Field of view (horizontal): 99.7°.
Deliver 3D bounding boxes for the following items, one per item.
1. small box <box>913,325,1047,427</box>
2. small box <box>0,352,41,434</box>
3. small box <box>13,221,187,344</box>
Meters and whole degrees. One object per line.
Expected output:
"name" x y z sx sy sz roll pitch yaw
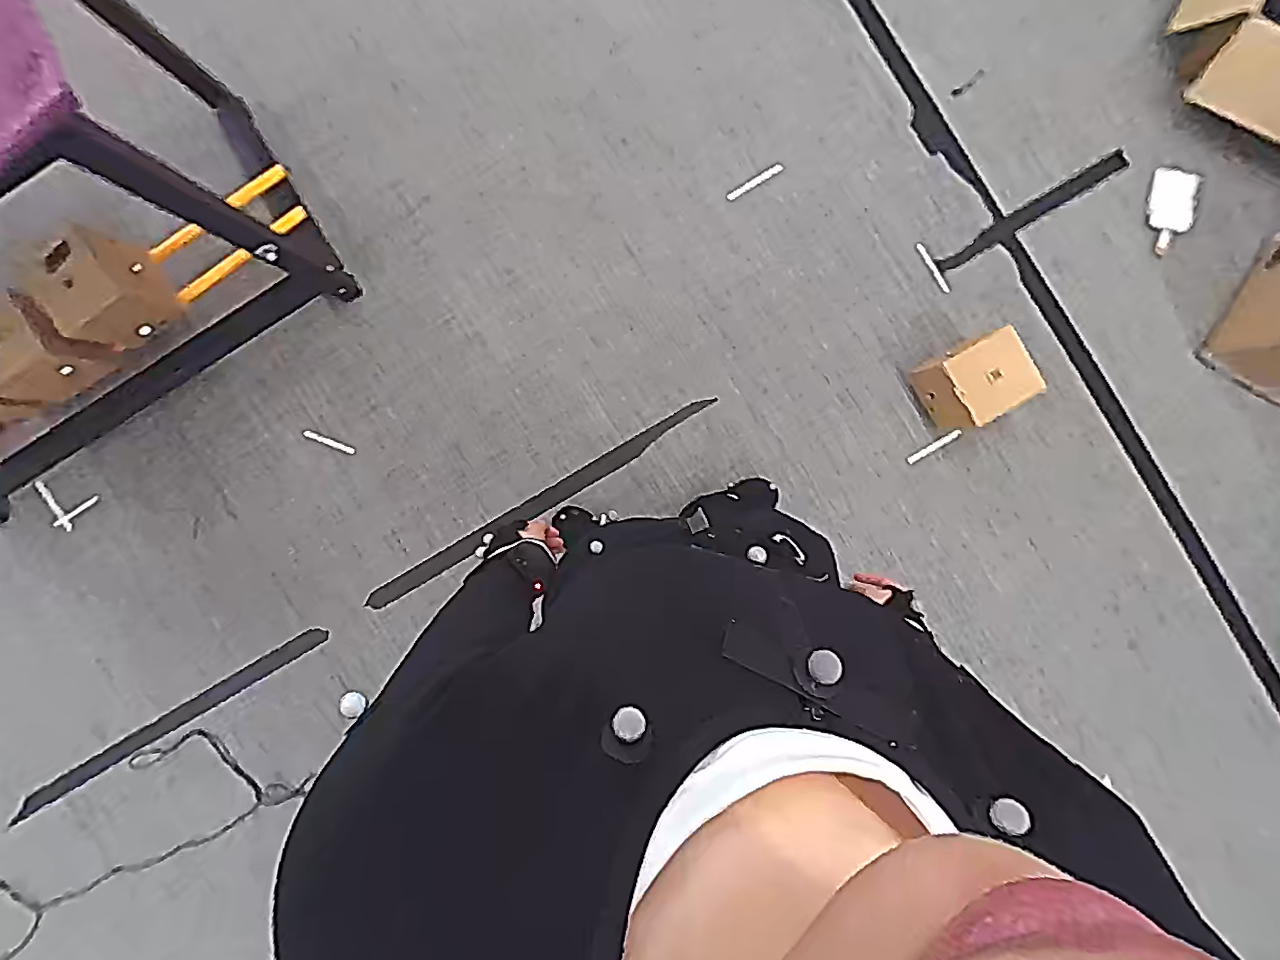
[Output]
"small box" 0.789 -0.237 1.272 0.179 0.176 0.168 -31 92 3
"small box" -1.539 -0.200 1.210 0.168 0.176 0.179 -31 94 2
"small box" -1.176 -0.424 1.193 0.168 0.176 0.179 -33 95 4
